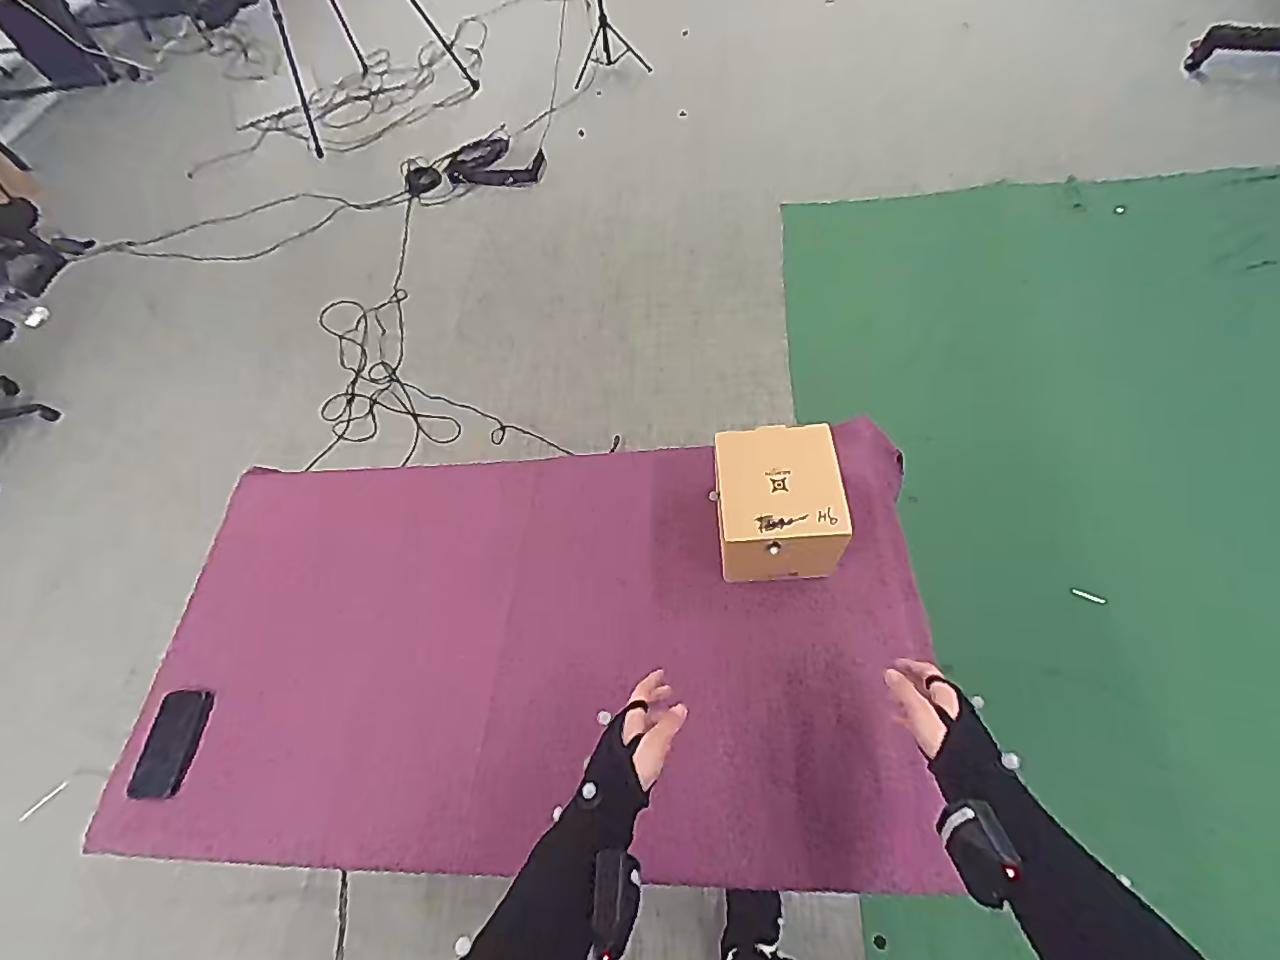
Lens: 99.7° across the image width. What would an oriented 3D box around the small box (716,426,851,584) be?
[{"bbox_3d":[0.200,0.042,0.808,0.168,0.176,0.179,-4,59,7],"label":"small box"}]
